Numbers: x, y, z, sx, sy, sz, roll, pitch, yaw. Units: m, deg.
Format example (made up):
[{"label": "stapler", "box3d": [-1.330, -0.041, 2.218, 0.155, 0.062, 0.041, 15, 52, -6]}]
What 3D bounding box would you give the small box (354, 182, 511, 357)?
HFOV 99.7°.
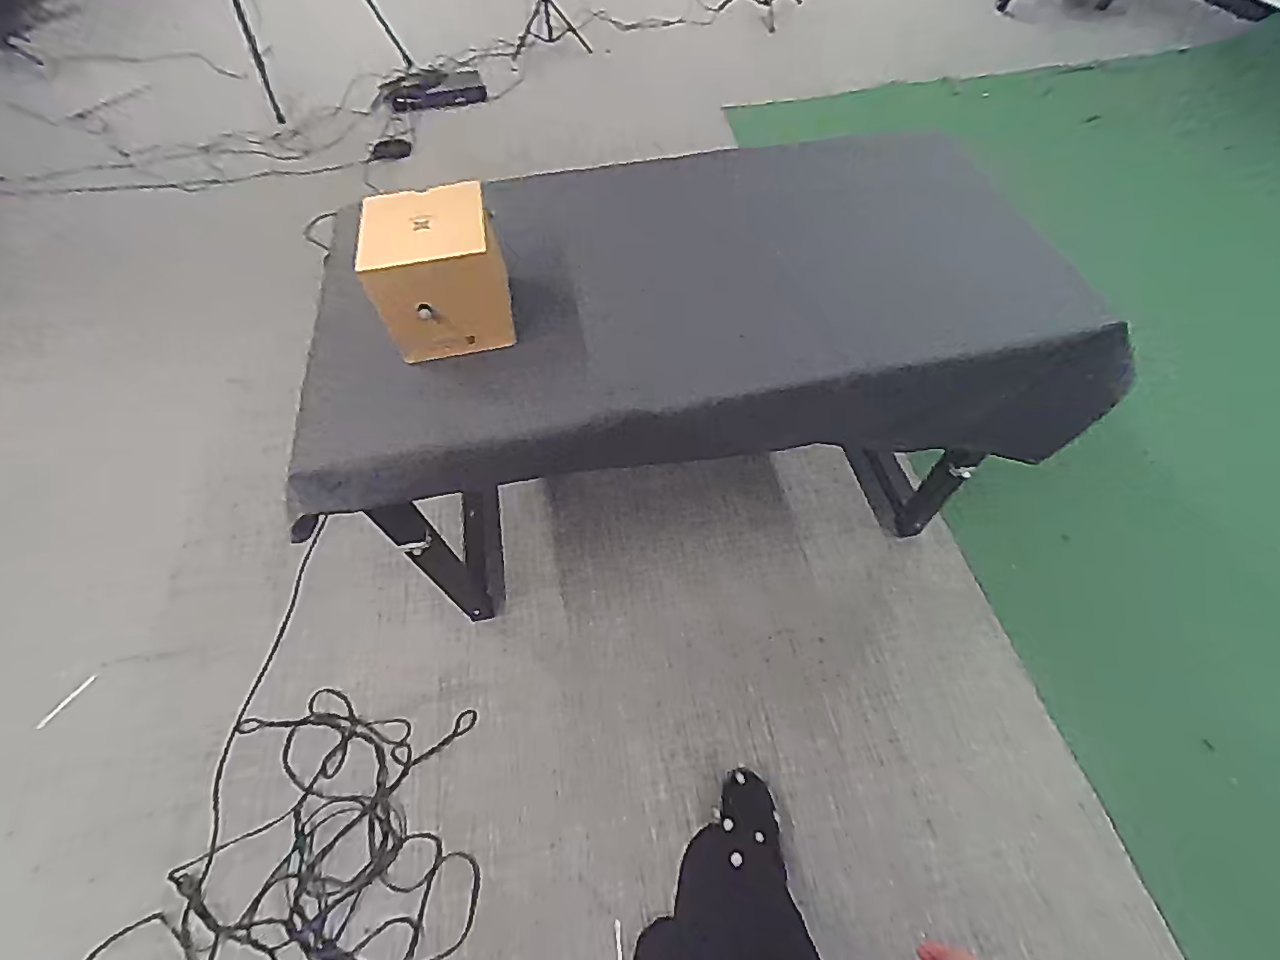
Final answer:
[{"label": "small box", "box3d": [-0.294, -0.300, 0.794, 0.168, 0.176, 0.179, -12, 57, -5]}]
